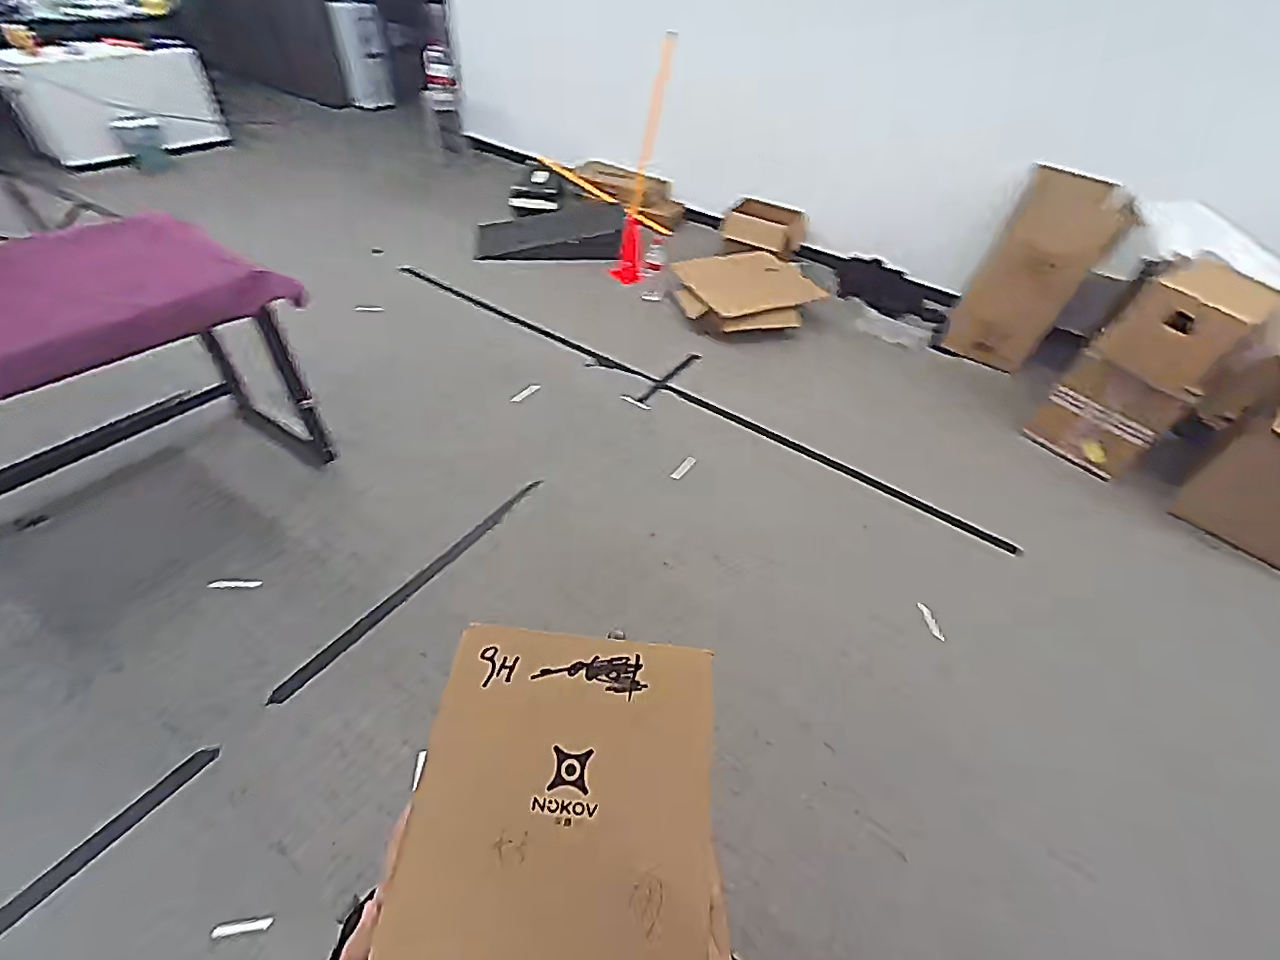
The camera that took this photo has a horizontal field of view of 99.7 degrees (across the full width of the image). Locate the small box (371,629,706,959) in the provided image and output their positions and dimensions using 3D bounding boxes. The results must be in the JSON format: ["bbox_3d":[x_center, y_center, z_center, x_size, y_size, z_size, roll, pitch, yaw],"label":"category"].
[{"bbox_3d":[-0.049,0.220,0.372,0.168,0.176,0.179,5,56,-1],"label":"small box"}]
